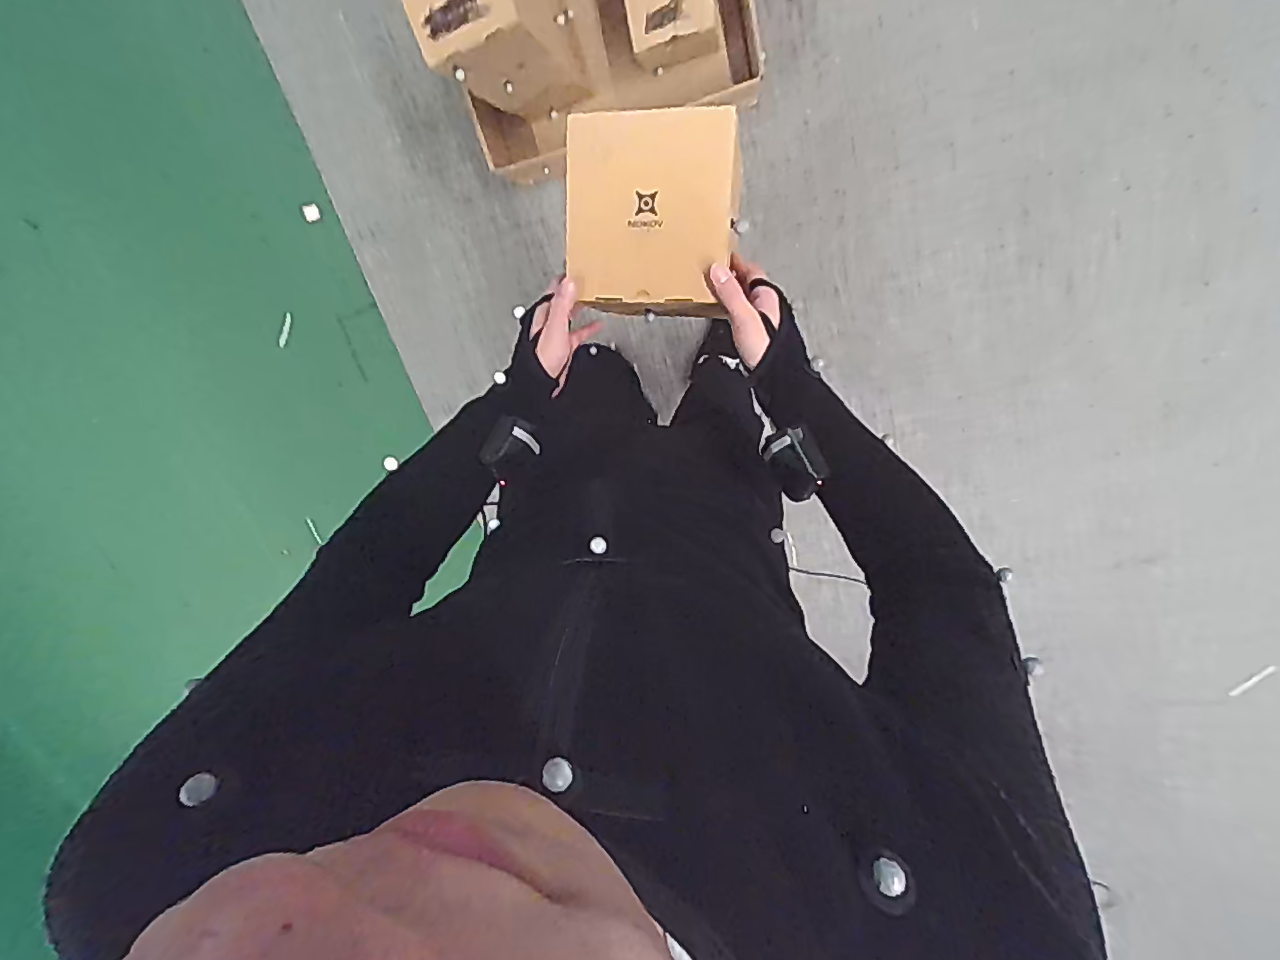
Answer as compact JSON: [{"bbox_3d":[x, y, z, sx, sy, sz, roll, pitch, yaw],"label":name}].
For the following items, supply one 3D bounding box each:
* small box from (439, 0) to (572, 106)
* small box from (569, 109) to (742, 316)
[{"bbox_3d":[-0.245,-0.839,1.006,0.168,0.176,0.179,-13,111,16],"label":"small box"},{"bbox_3d":[0.023,-0.284,0.610,0.168,0.176,0.179,5,104,9],"label":"small box"}]
